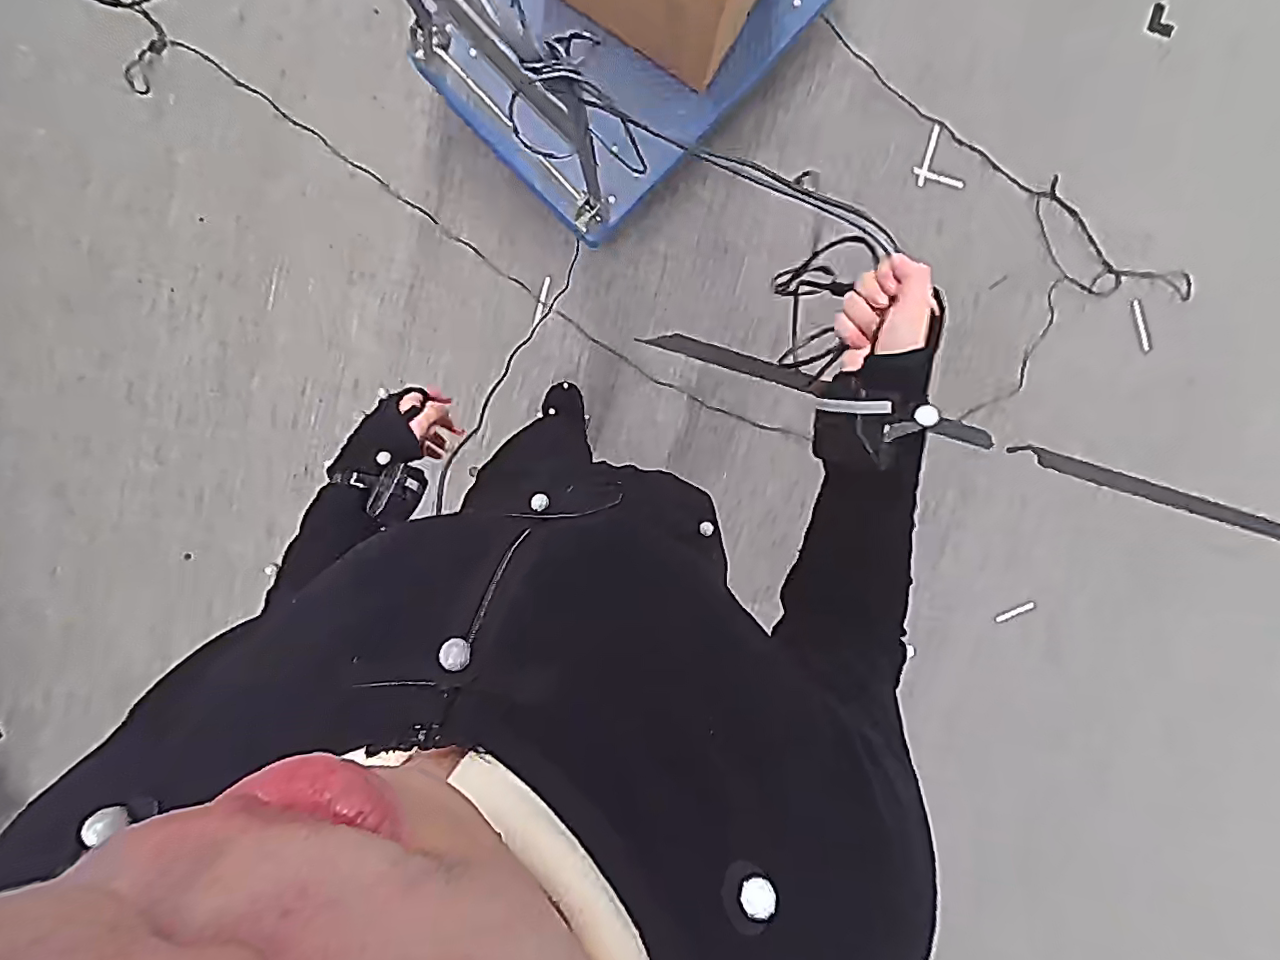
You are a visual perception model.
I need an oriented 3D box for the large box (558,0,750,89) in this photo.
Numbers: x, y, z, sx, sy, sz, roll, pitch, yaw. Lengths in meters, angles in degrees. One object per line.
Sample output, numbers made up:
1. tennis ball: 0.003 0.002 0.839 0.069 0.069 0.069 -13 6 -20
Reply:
1. large box: 0.042 -1.063 1.014 0.408 0.320 0.320 30 96 -6
